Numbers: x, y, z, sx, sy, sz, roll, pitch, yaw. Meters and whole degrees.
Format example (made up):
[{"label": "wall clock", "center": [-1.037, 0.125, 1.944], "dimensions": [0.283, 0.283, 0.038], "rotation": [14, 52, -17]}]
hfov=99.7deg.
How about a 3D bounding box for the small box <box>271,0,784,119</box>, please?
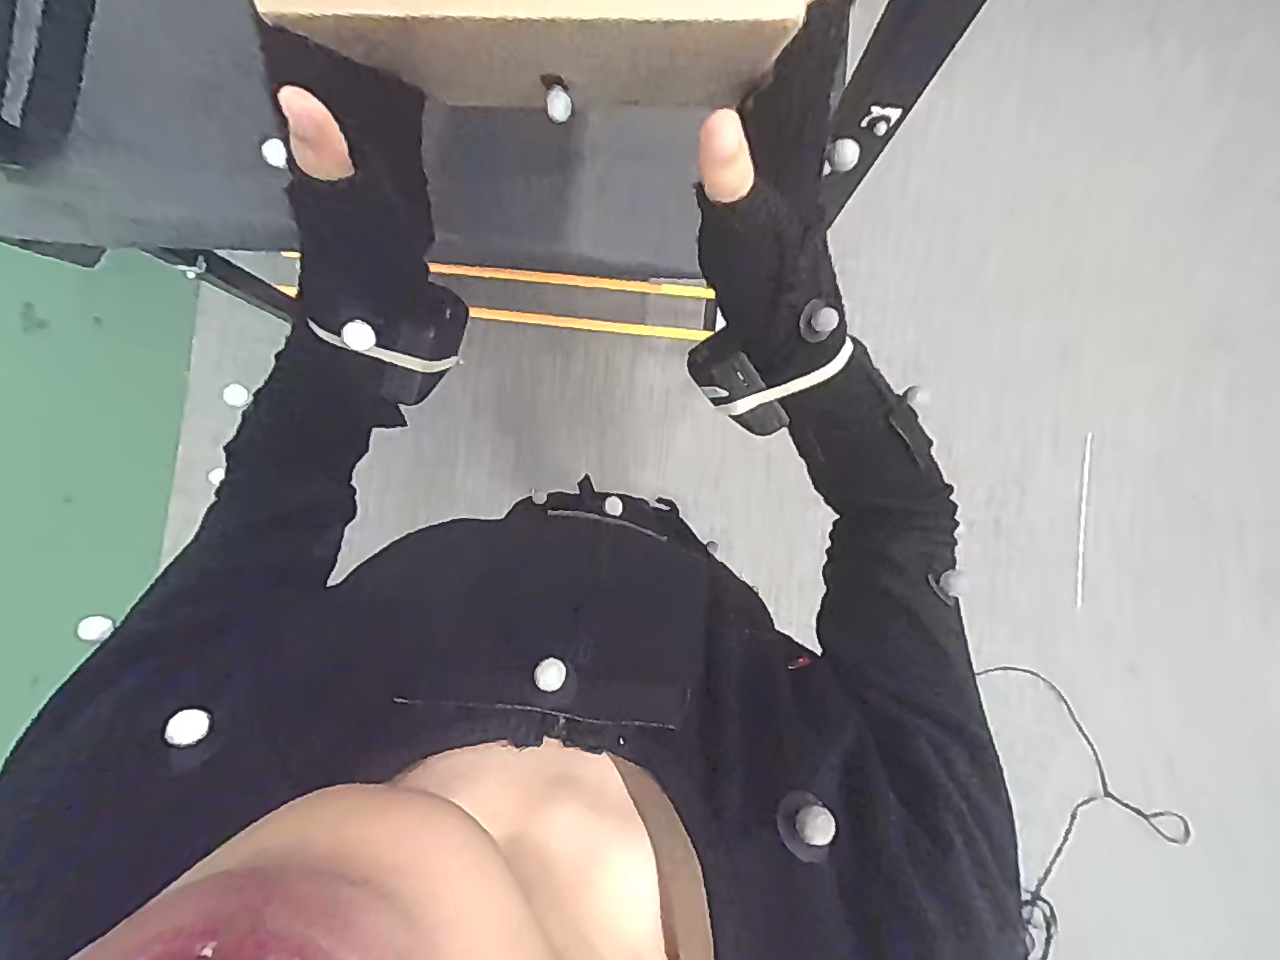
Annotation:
[{"label": "small box", "center": [-0.030, -0.251, 0.205], "dimensions": [0.168, 0.176, 0.179], "rotation": [2, 117, 1]}]
